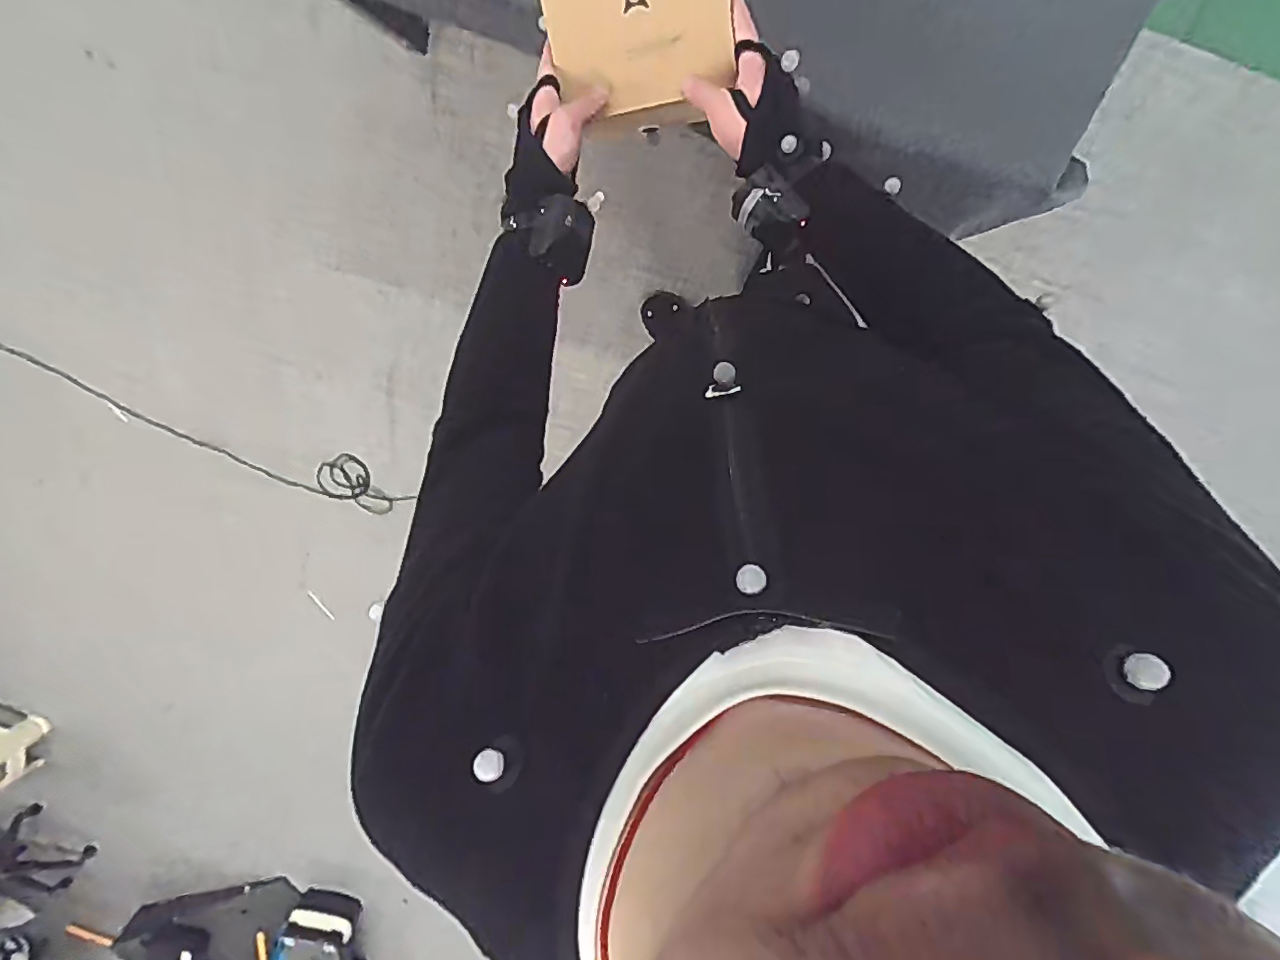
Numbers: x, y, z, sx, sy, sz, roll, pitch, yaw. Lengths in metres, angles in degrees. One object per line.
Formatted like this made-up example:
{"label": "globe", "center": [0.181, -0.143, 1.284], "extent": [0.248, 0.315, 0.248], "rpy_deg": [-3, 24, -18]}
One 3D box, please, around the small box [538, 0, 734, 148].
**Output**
{"label": "small box", "center": [0.003, -0.445, 0.528], "extent": [0.168, 0.176, 0.179], "rpy_deg": [-4, 116, 10]}
